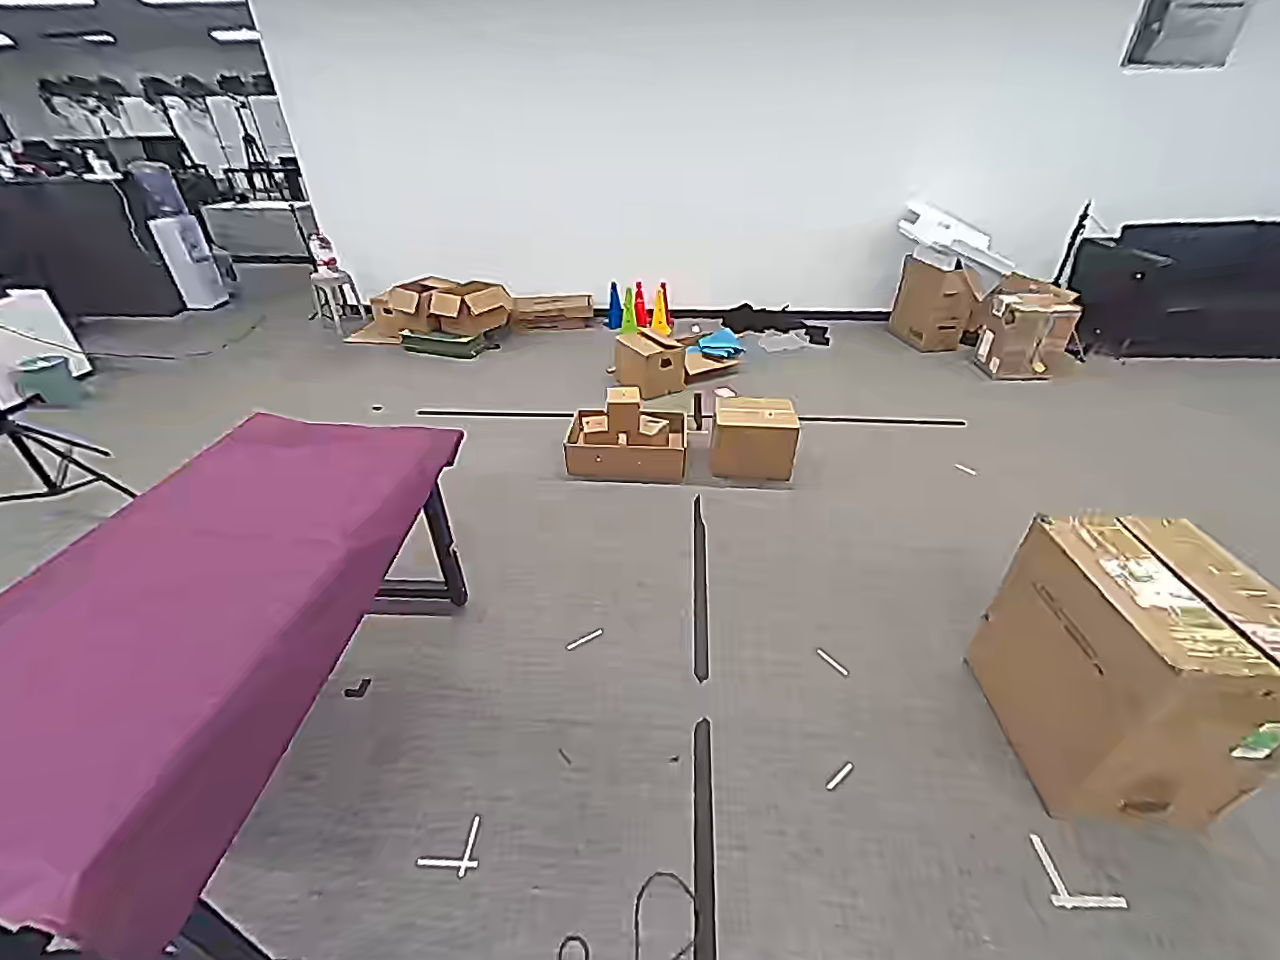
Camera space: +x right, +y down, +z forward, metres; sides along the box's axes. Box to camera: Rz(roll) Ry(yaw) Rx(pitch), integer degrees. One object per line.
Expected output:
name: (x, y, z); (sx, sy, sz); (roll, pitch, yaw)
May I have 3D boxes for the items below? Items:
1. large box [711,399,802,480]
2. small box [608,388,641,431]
large box: (0.588, -0.214, 2.808); (0.408, 0.320, 0.320); (3, 35, 3)
small box: (-0.080, -0.359, 2.768); (0.168, 0.176, 0.179); (-1, 33, -3)
